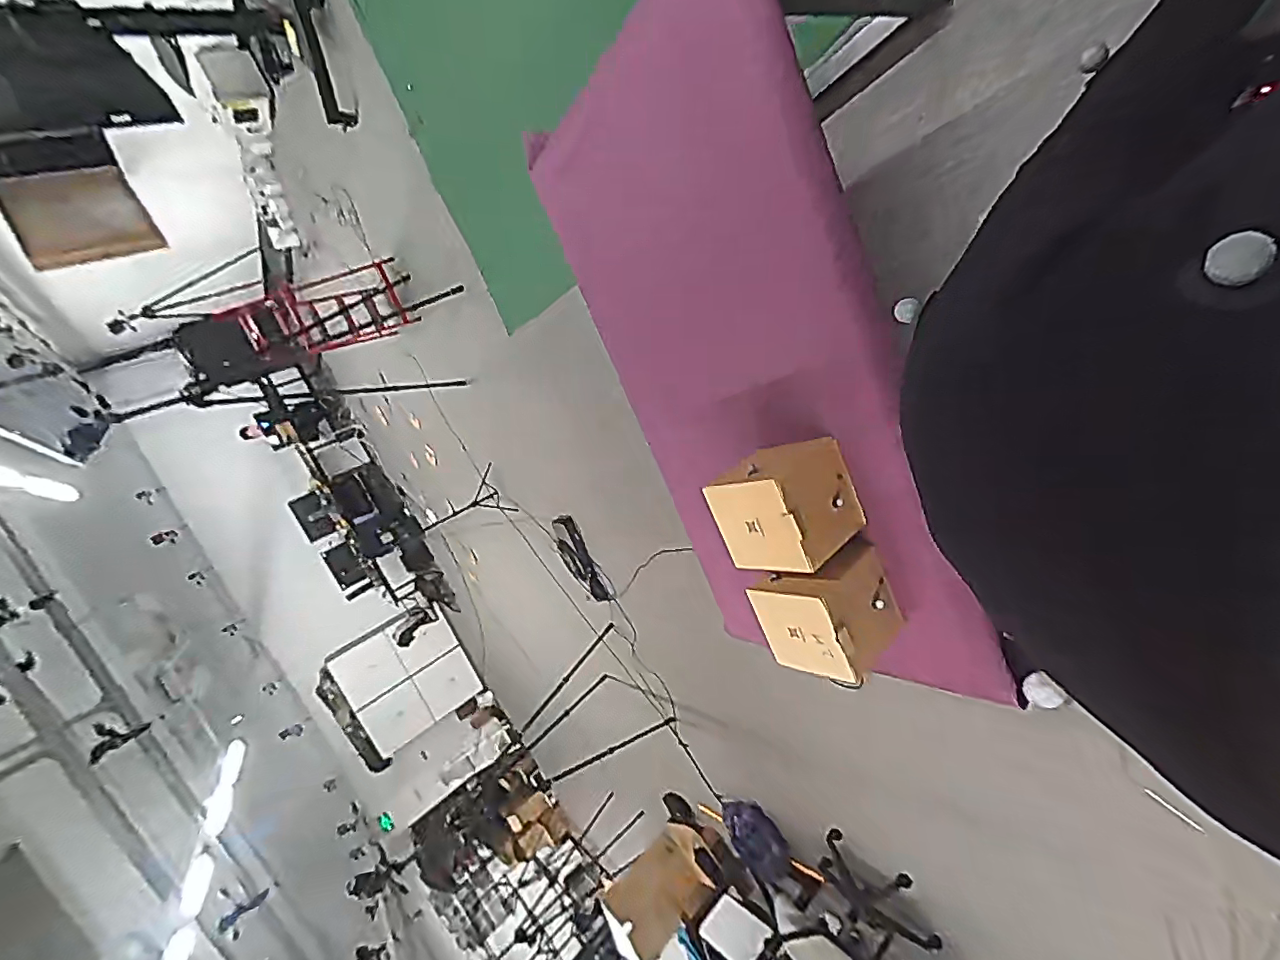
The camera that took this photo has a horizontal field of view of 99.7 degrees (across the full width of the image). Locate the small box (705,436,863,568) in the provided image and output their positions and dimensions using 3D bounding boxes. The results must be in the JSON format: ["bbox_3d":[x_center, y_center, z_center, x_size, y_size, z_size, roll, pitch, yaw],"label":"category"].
[{"bbox_3d":[0.253,0.037,0.948,0.179,0.176,0.168,-10,108,55],"label":"small box"}]

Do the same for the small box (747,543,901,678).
[{"bbox_3d":[0.335,0.224,0.982,0.179,0.176,0.168,-10,107,56],"label":"small box"}]
